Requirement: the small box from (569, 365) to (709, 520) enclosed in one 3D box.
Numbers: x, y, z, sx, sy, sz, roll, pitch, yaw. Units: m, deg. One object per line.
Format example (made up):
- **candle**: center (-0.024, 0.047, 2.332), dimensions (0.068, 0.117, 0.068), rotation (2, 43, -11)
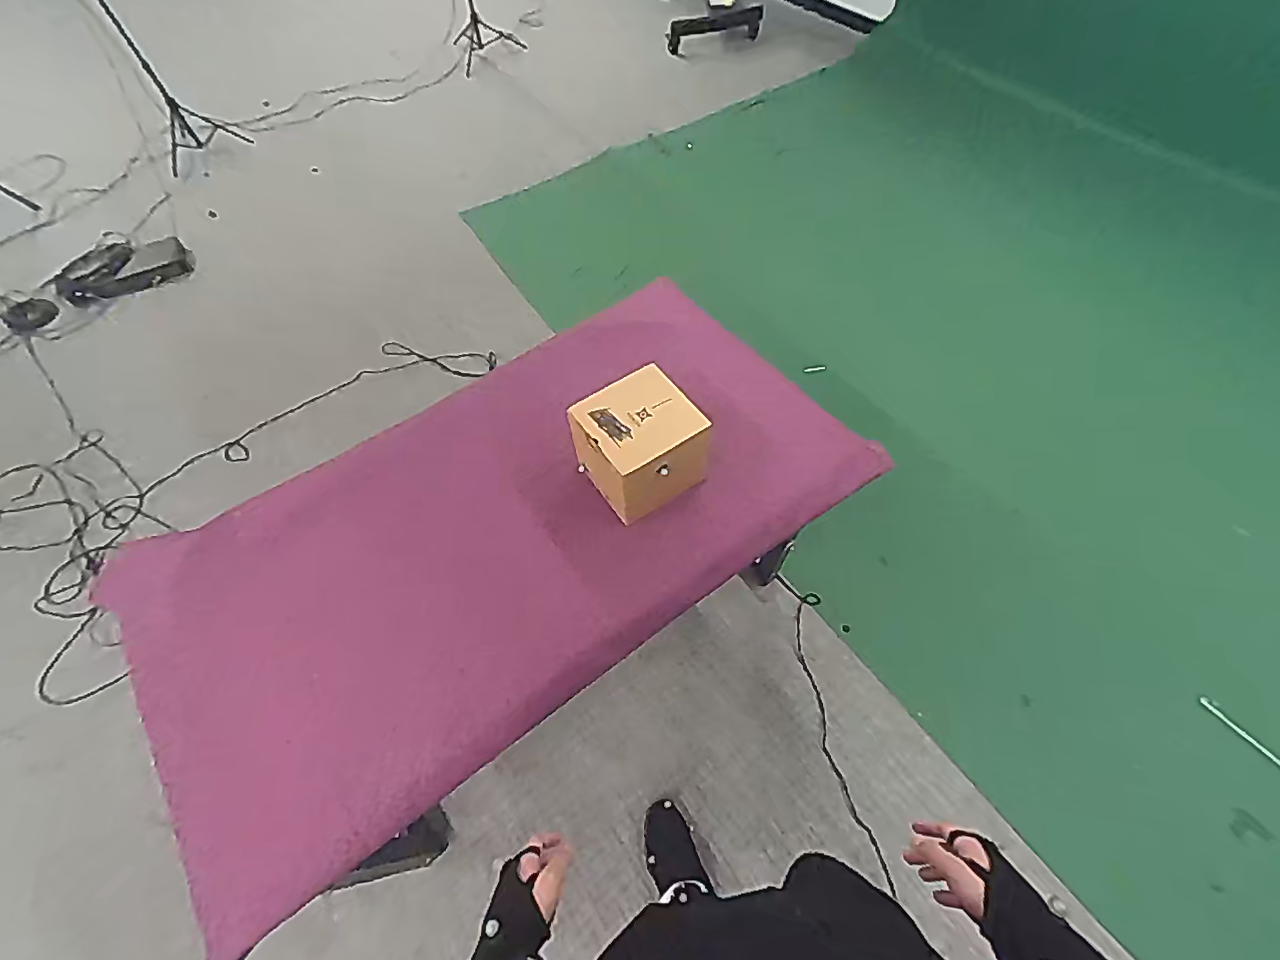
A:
- **small box**: center (0.000, -0.059, 0.939), dimensions (0.179, 0.176, 0.168), rotation (-31, 63, -16)
